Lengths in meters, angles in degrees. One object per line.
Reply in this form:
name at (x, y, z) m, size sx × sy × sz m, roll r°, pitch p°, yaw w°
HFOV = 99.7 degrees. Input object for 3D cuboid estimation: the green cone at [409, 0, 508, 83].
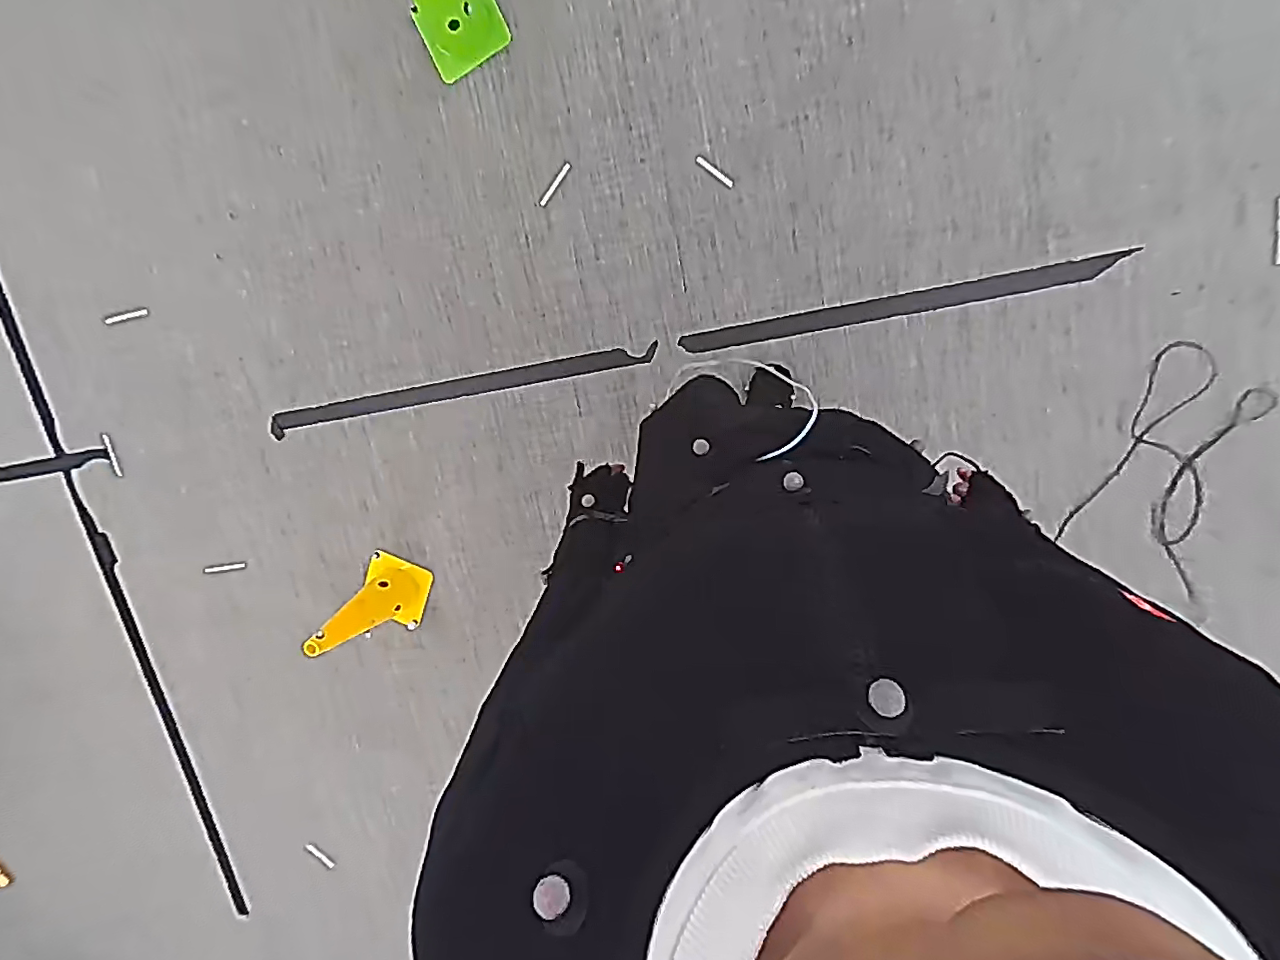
green cone at (-0.461, -1.065, 1.139) m, size 0.202 × 0.368 × 0.200 m, roll -25°, pitch 97°, yaw 12°
